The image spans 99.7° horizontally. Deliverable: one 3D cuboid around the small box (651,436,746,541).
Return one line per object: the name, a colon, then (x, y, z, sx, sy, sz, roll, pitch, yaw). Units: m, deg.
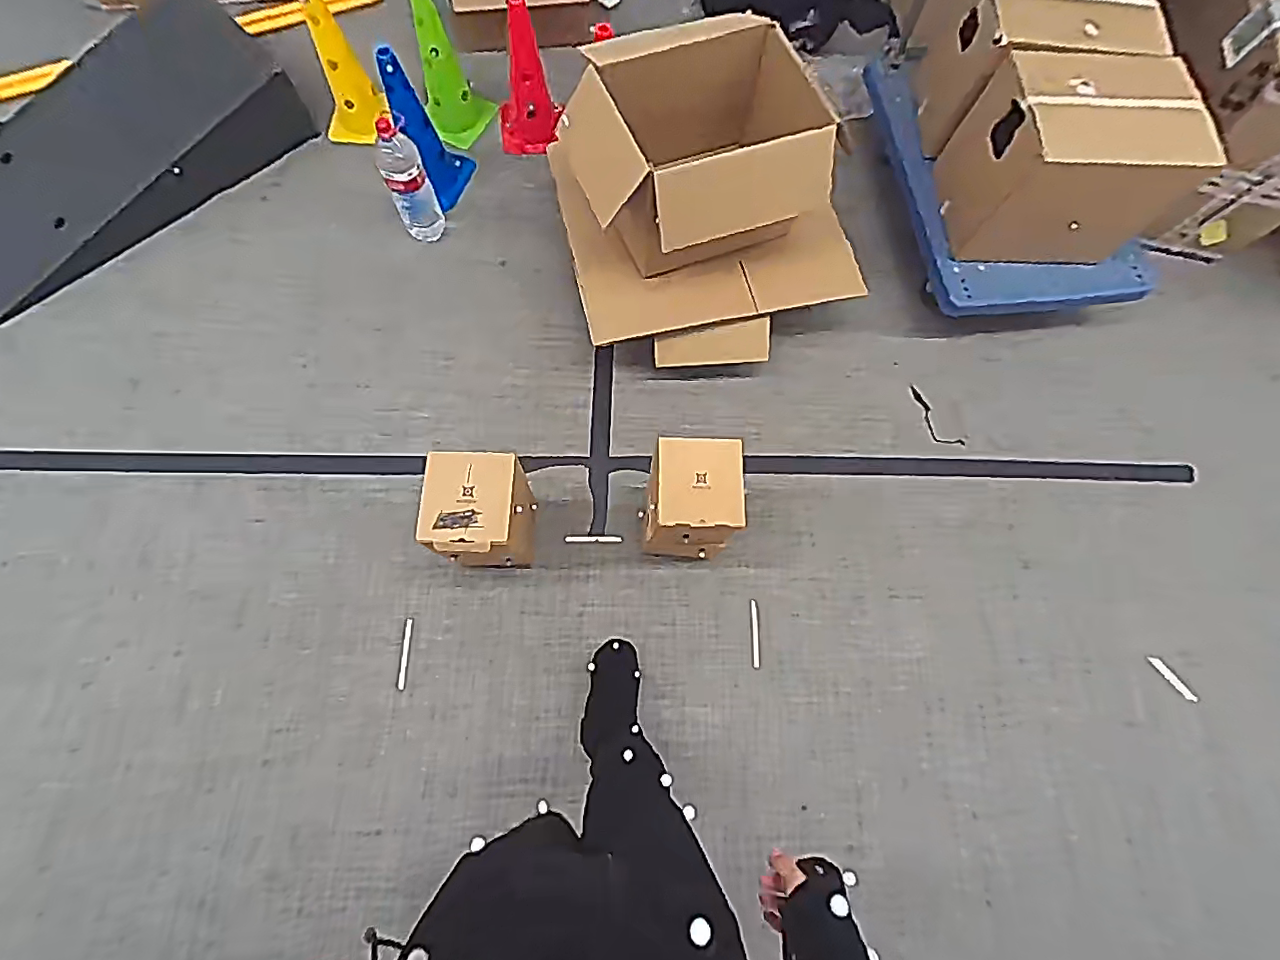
small box: (0.111, 0.023, 1.103, 0.168, 0.176, 0.179, 2, 74, -4)

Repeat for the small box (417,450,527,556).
small box: (-0.320, 0.052, 1.066, 0.168, 0.176, 0.179, 2, 72, -3)

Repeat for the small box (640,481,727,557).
small box: (0.100, 0.081, 1.255, 0.179, 0.176, 0.168, 6, 73, -3)

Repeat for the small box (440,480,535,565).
small box: (-0.336, 0.098, 1.223, 0.179, 0.176, 0.168, -1, 73, -3)
